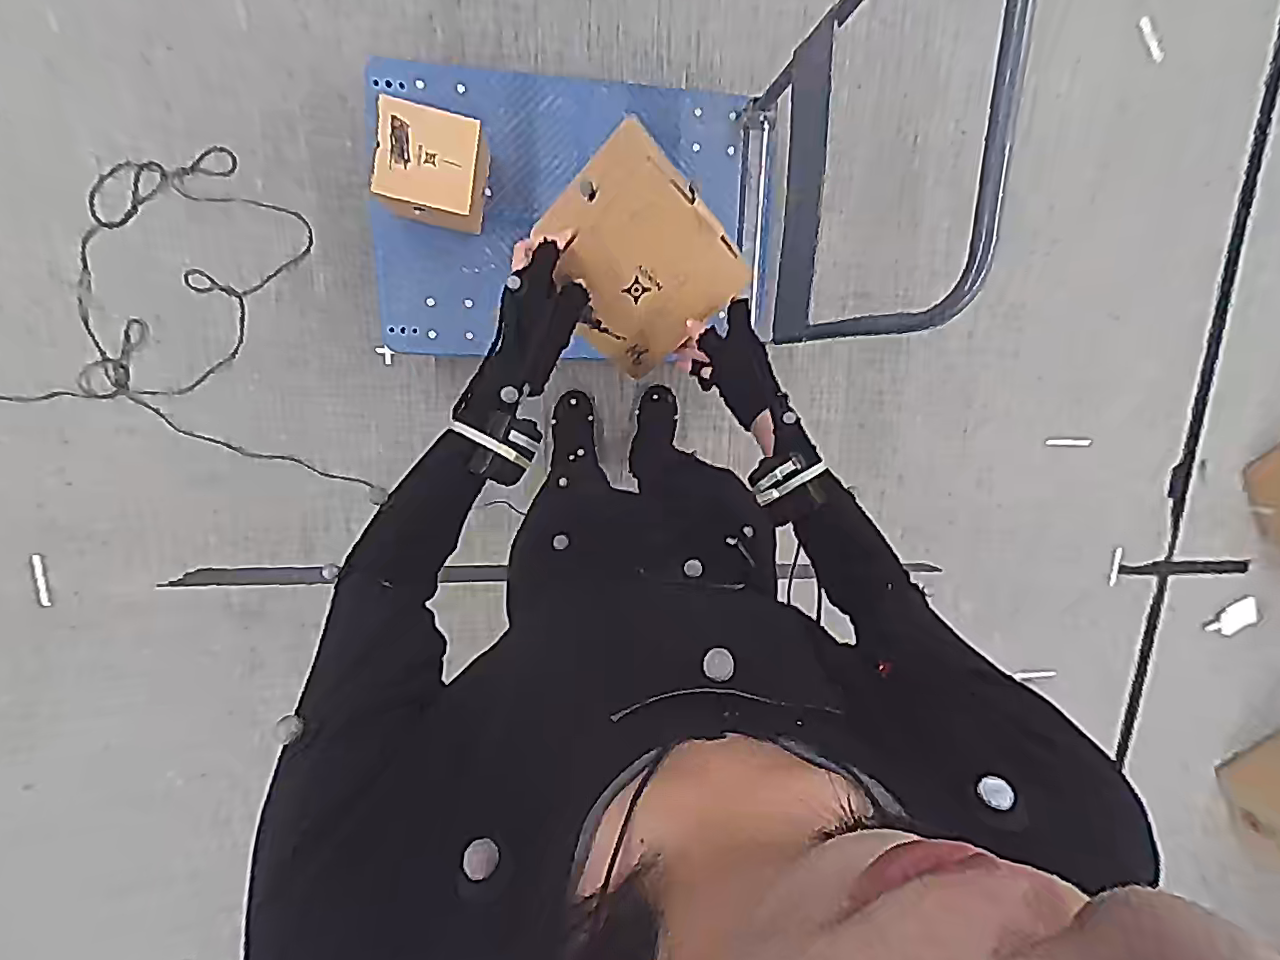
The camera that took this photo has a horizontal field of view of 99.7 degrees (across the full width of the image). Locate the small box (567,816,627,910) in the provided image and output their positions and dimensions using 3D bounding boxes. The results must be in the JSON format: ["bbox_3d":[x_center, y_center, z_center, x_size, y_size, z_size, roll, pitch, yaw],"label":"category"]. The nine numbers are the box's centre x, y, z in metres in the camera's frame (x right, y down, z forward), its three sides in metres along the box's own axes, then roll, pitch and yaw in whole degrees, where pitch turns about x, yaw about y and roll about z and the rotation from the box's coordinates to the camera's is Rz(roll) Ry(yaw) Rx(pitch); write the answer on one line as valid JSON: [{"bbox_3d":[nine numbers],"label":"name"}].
[{"bbox_3d":[-0.137,1.183,1.681,0.179,0.176,0.168,-2,103,-8],"label":"small box"}]

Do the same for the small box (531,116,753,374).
[{"bbox_3d":[-0.008,-0.264,0.608,0.179,0.176,0.168,-38,129,25],"label":"small box"}]

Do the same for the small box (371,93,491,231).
[{"bbox_3d":[-0.401,-0.607,1.058,0.179,0.176,0.168,10,101,-11],"label":"small box"}]
